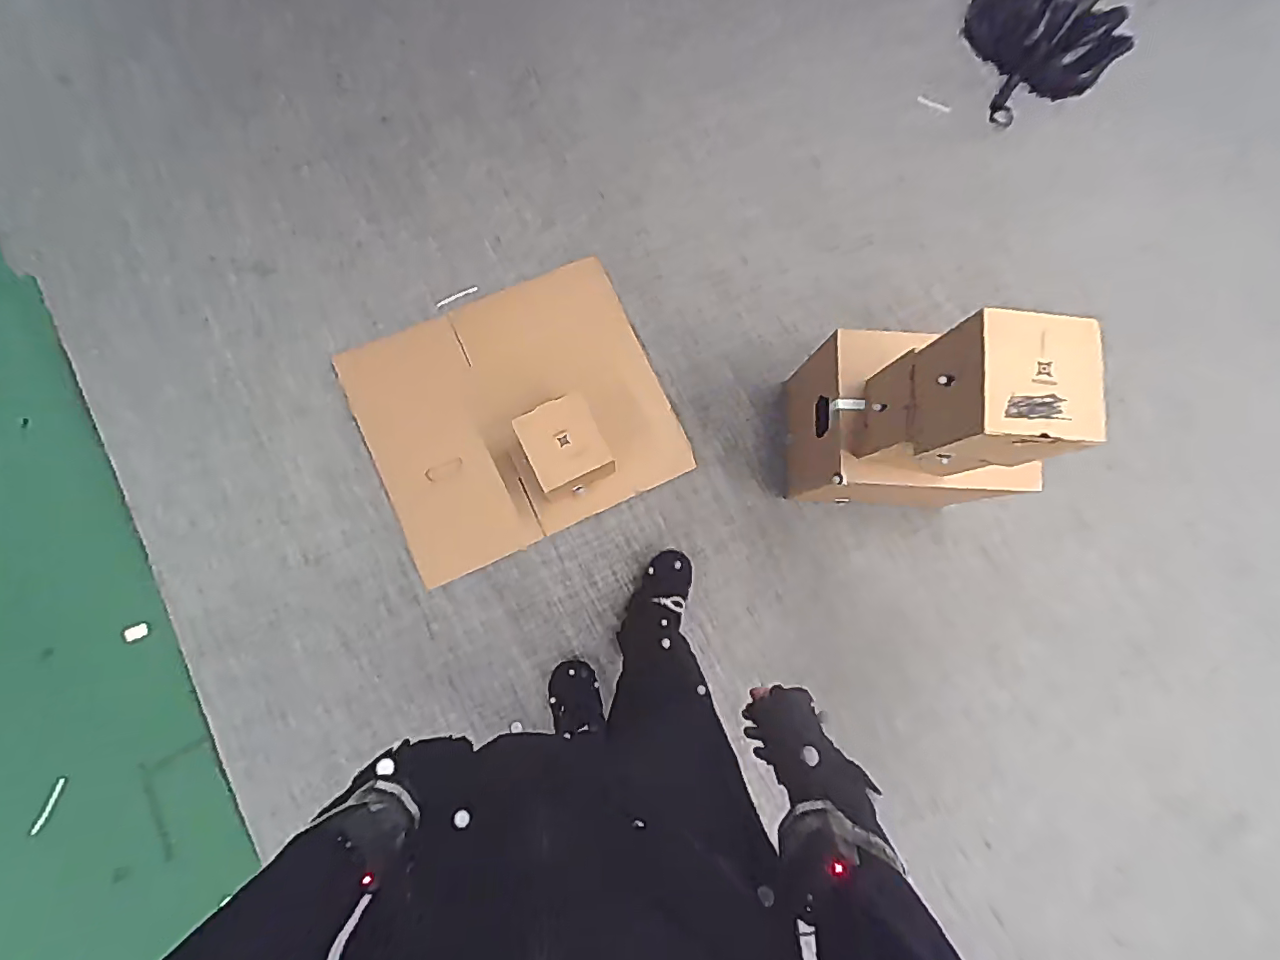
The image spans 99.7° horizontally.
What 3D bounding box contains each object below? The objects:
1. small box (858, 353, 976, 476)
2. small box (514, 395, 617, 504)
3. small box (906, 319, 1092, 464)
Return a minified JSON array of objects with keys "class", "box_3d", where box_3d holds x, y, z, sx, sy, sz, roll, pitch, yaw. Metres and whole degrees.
[{"class":"small box","box_3d":[0.511,-0.108,0.969,0.179,0.176,0.168,8,79,-2]},{"class":"small box","box_3d":[-0.162,-0.061,1.221,0.168,0.176,0.179,-27,84,-5]},{"class":"small box","box_3d":[0.517,-0.120,0.802,0.168,0.176,0.179,2,83,-2]}]
